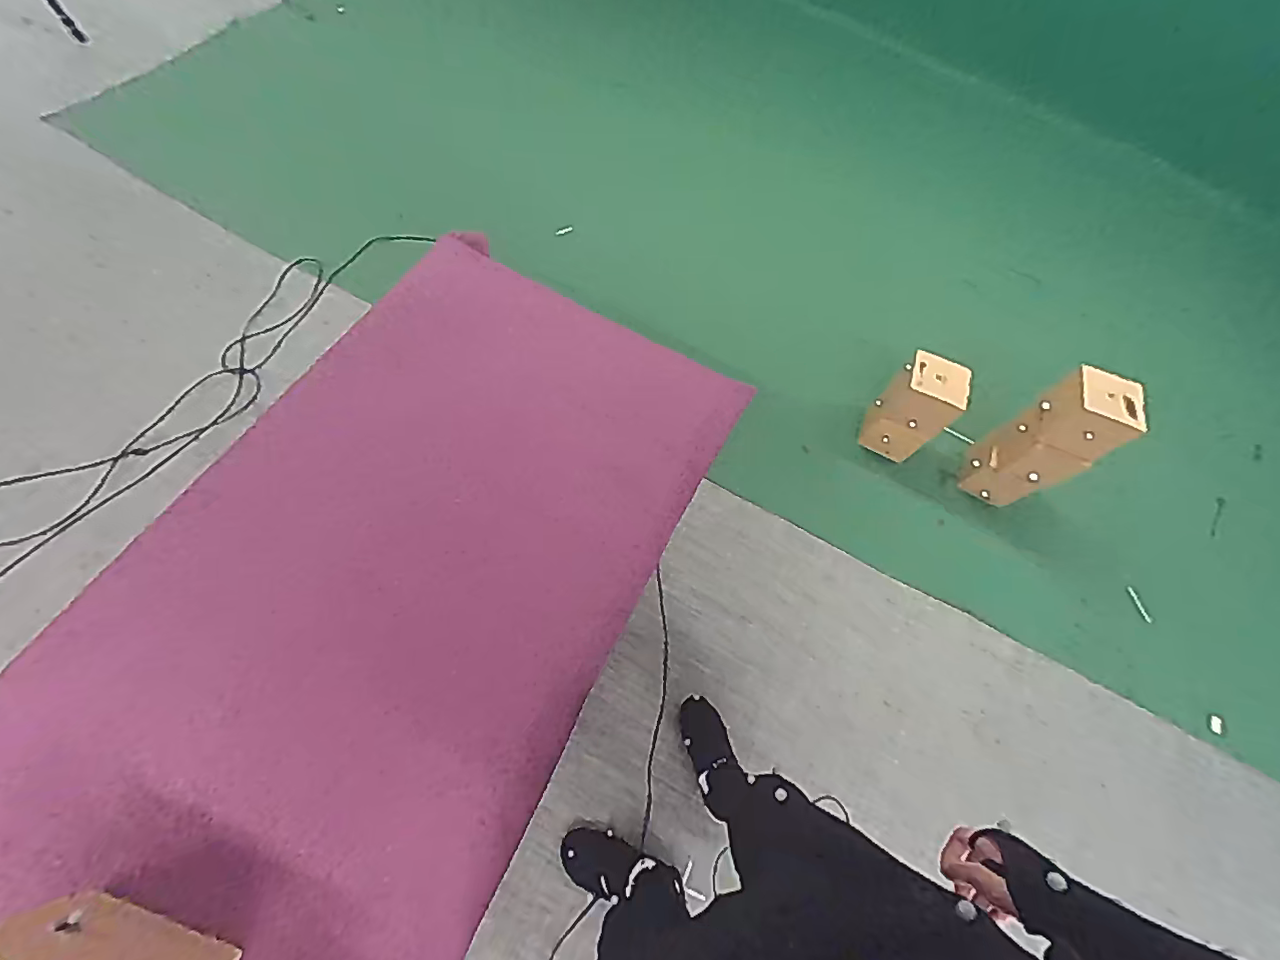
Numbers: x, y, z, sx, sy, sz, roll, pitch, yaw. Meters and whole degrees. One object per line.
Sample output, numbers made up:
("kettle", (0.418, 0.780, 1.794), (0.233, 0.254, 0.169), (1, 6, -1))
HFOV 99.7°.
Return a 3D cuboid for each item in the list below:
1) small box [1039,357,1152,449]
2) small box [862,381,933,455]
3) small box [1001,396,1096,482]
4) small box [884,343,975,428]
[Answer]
("small box", (1.267, -0.207, 1.511), (0.179, 0.176, 0.168), (21, 64, 2))
("small box", (0.876, -0.212, 1.823), (0.168, 0.176, 0.179), (26, 63, 5))
("small box", (1.240, -0.122, 1.652), (0.168, 0.176, 0.179), (19, 64, 1))
("small box", (0.895, -0.284, 1.677), (0.179, 0.176, 0.168), (24, 63, 3))
